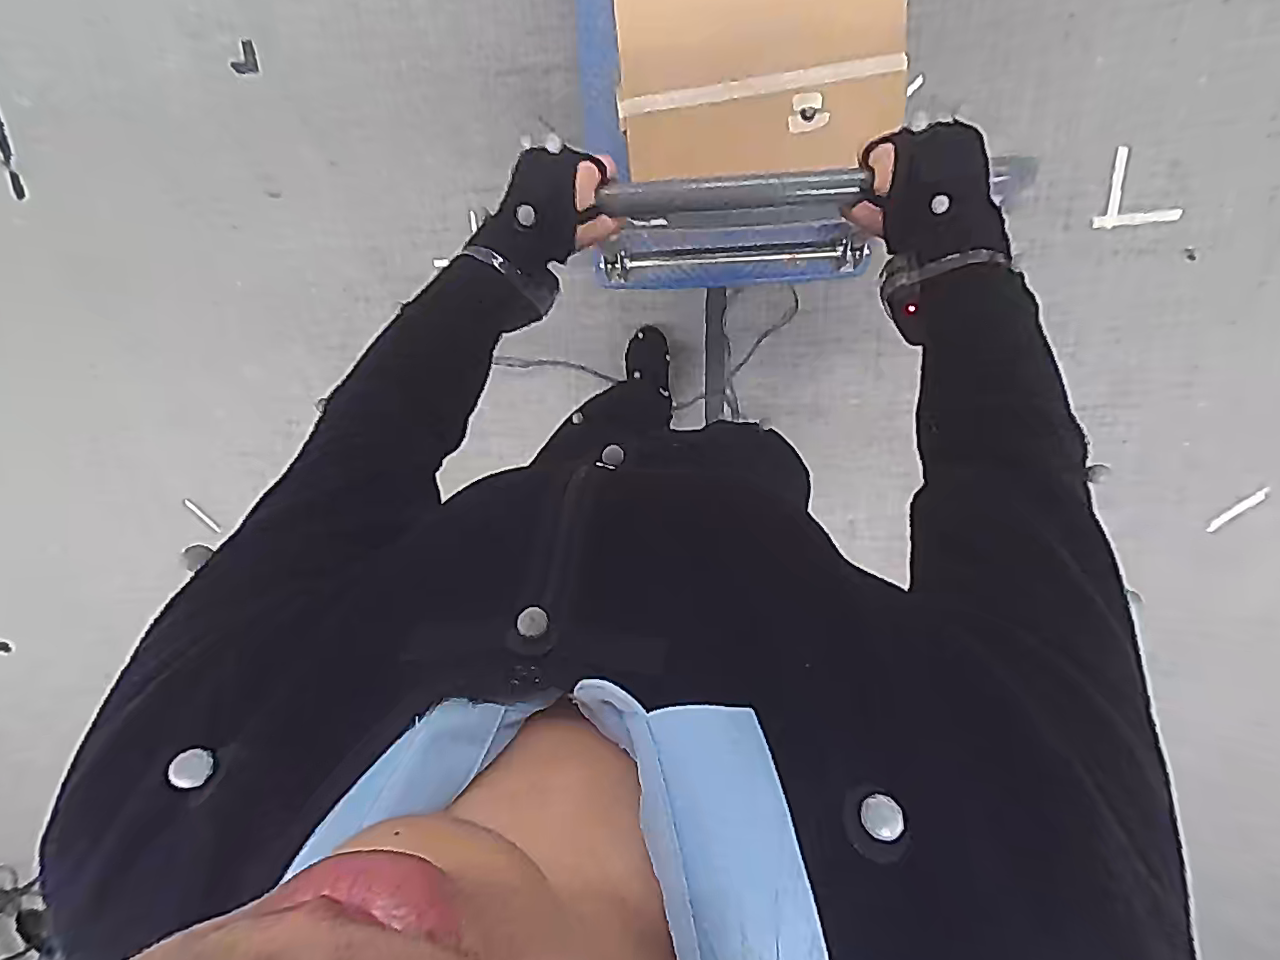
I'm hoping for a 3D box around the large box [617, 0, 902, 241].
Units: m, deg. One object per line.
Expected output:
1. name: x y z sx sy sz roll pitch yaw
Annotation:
1. large box: 0.191 -0.627 0.945 0.408 0.320 0.320 -5 108 7
